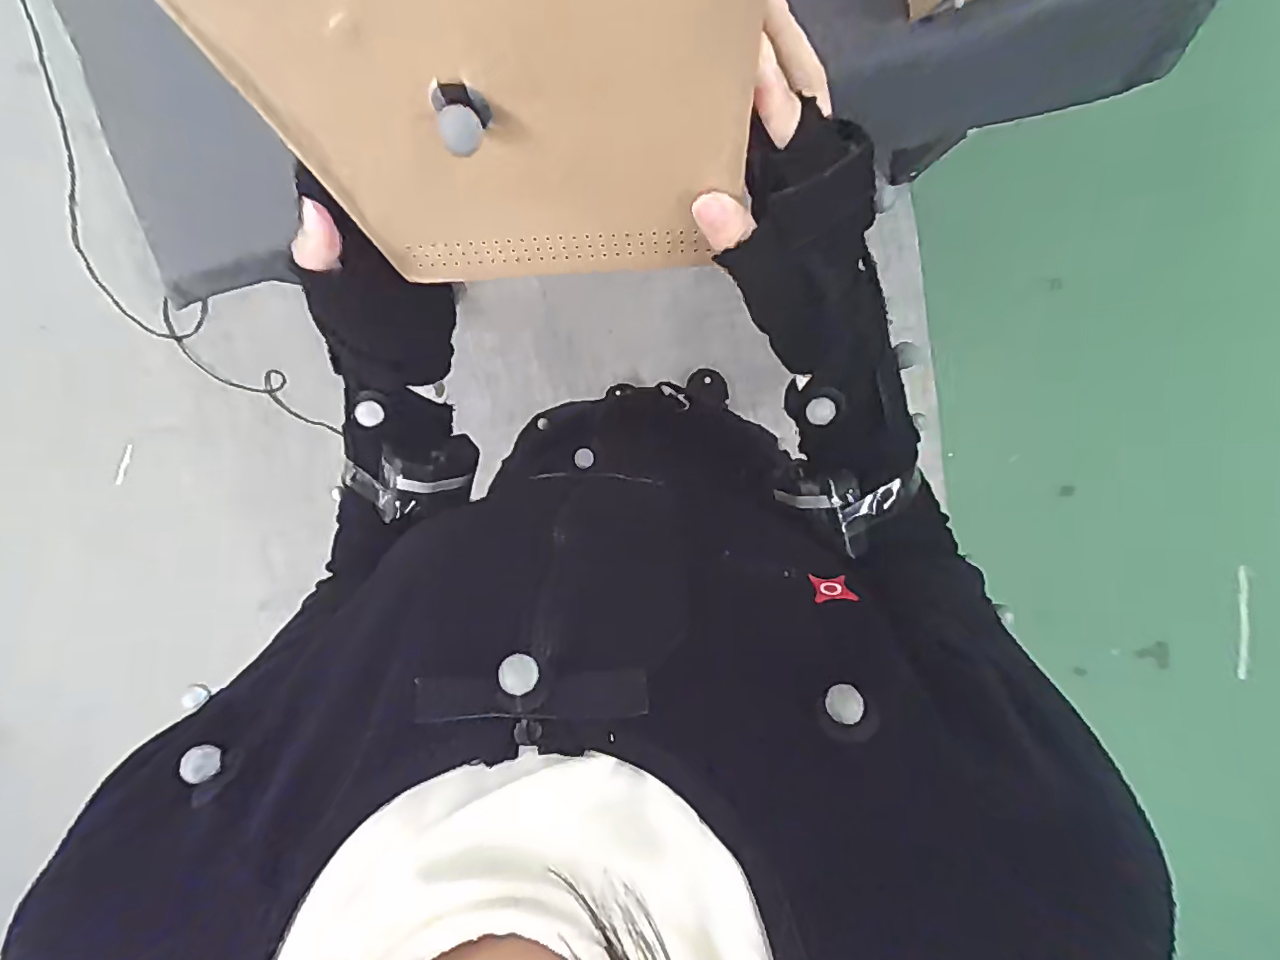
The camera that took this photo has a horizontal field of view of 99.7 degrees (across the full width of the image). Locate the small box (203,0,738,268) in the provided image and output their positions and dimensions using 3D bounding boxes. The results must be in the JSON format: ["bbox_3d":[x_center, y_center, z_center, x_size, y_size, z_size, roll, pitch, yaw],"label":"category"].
[{"bbox_3d":[-0.049,-0.210,0.228,0.179,0.176,0.168,-1,77,7],"label":"small box"}]
